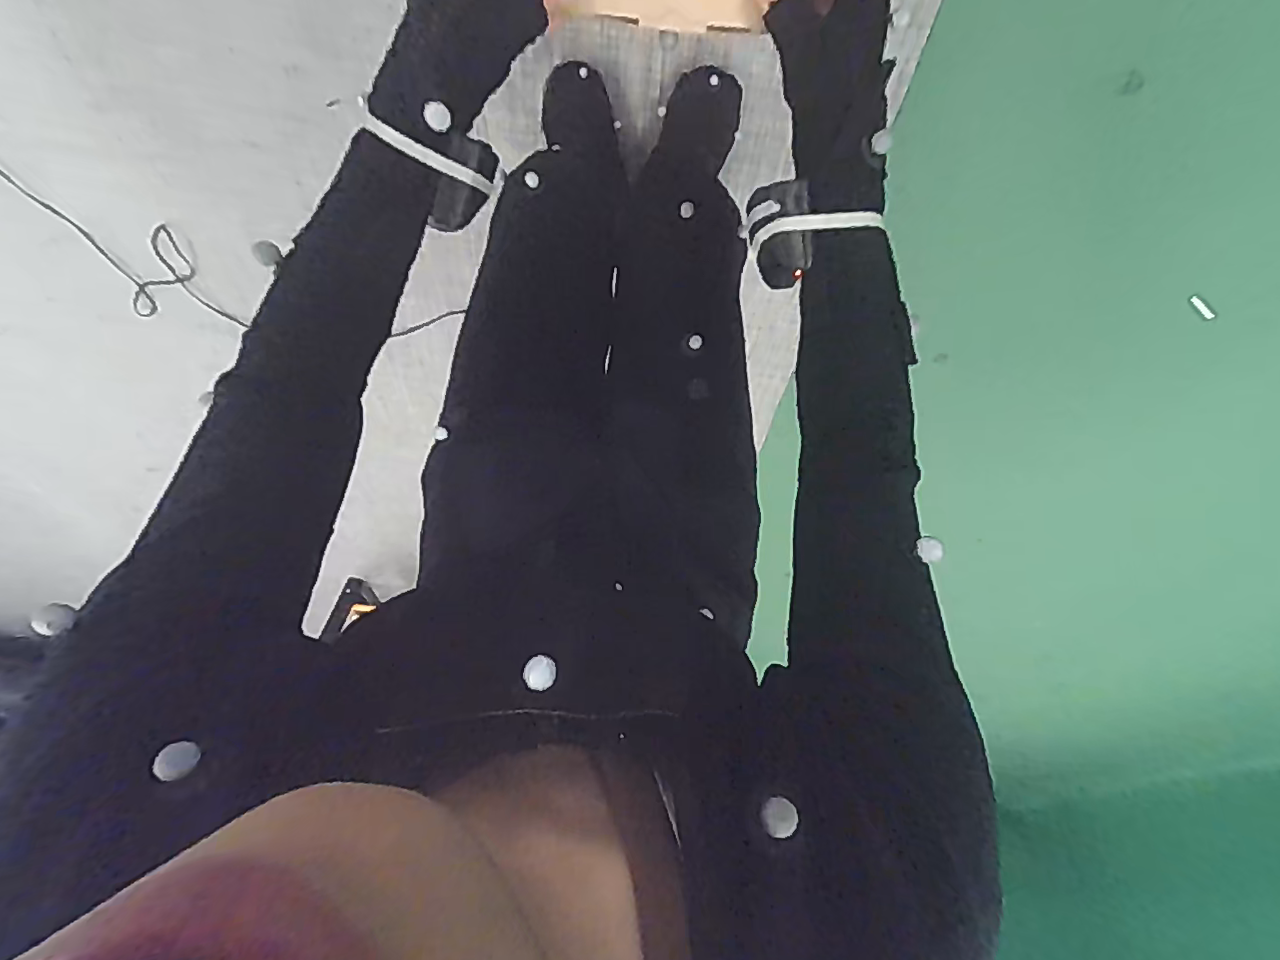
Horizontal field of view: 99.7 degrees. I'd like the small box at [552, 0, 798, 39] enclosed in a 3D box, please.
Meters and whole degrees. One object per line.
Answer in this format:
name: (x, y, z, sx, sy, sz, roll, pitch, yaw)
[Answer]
small box: (0.031, -0.422, 0.367, 0.168, 0.176, 0.179, 5, 130, -1)
